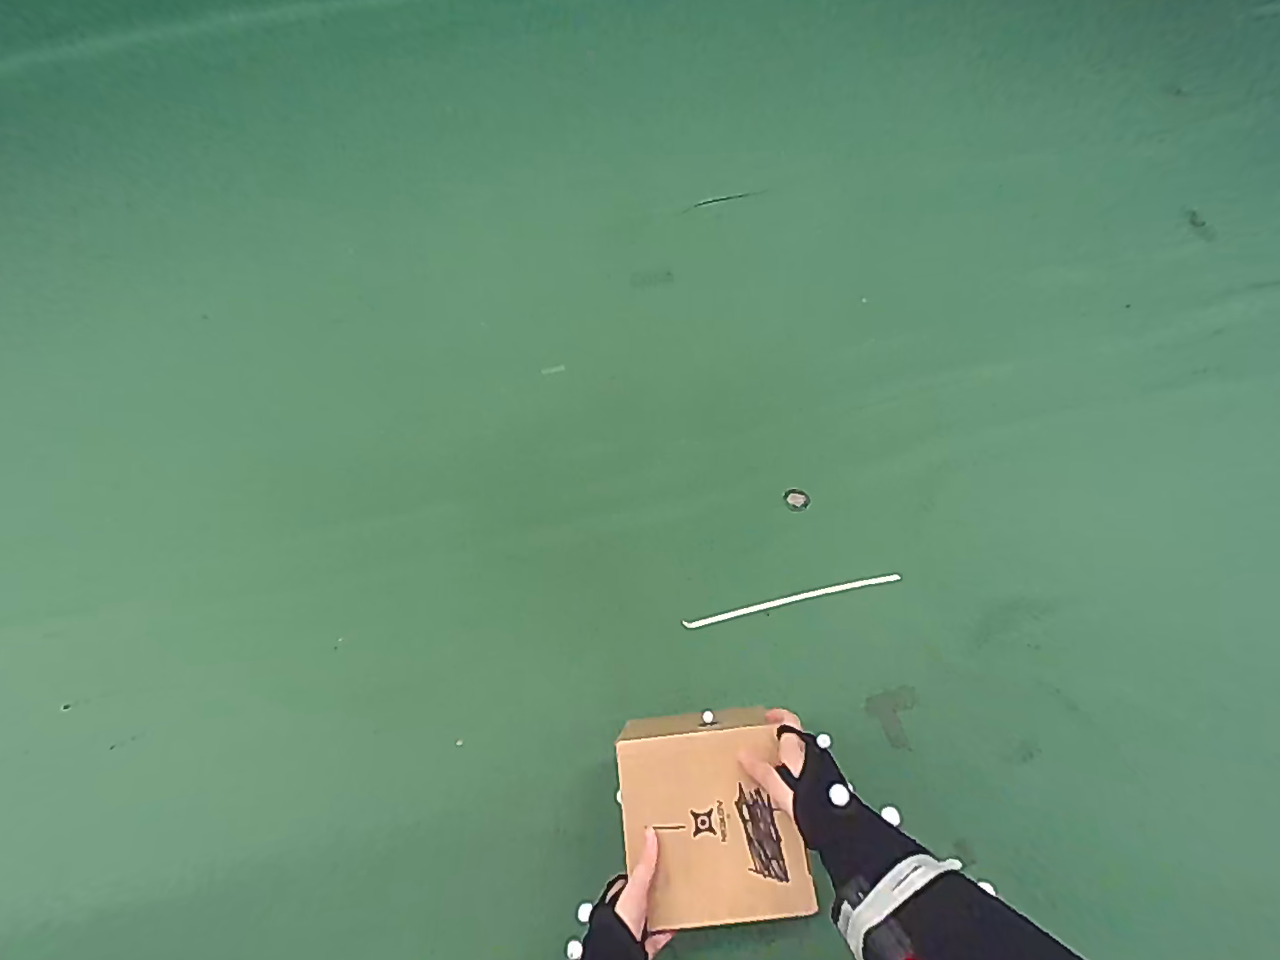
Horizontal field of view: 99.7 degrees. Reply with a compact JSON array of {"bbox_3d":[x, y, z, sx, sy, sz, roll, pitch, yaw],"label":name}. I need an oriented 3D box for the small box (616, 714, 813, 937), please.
[{"bbox_3d":[0.074,0.366,0.605,0.179,0.176,0.168,-8,72,3],"label":"small box"}]
